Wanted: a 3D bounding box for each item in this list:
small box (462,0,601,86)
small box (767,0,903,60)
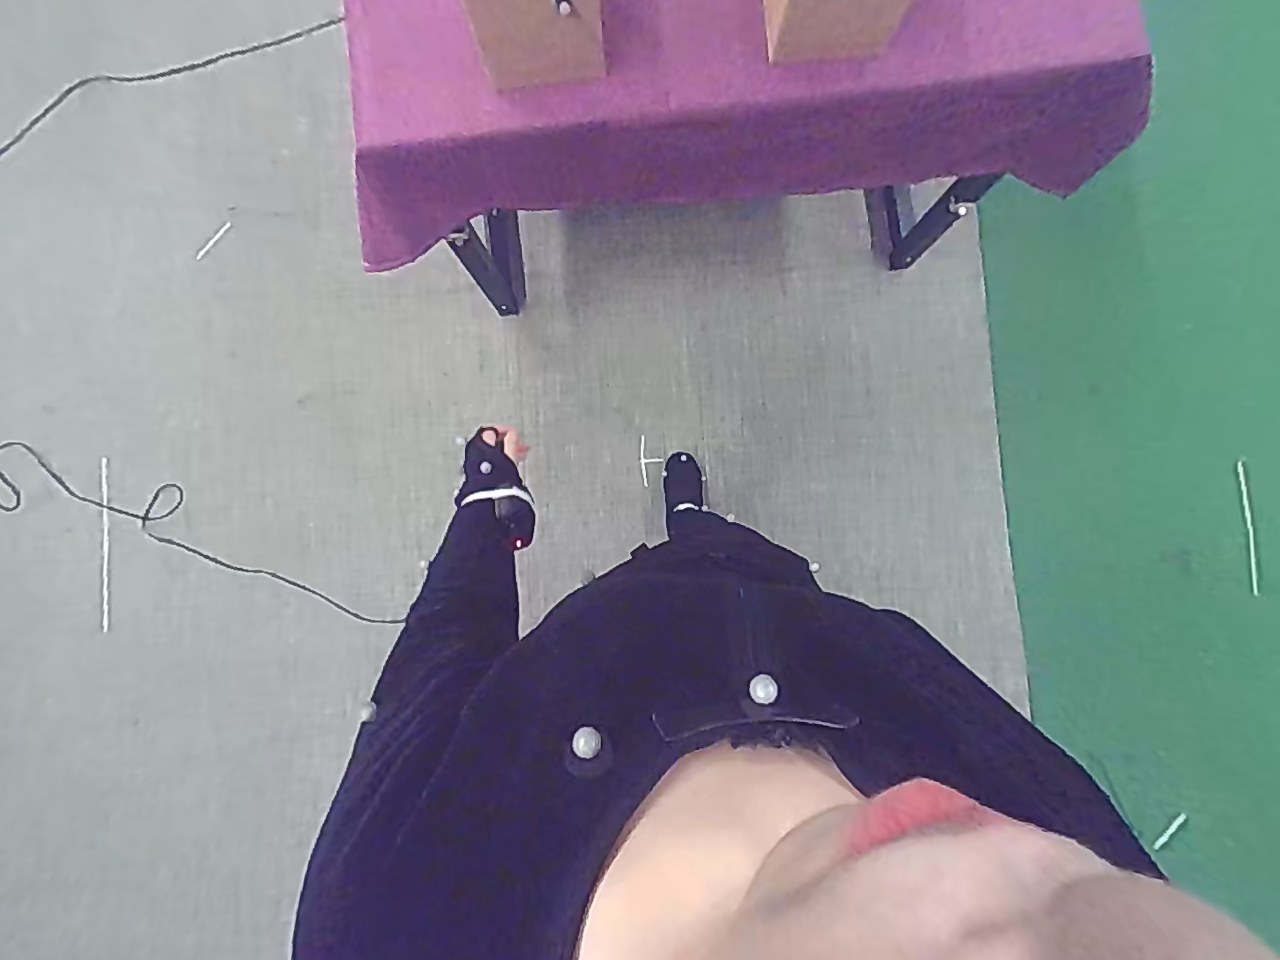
[{"bbox_3d":[-0.149,-0.689,0.747,0.179,0.176,0.168,-7,85,0],"label":"small box"},{"bbox_3d":[0.274,-0.723,0.745,0.179,0.176,0.168,-4,86,0],"label":"small box"}]
